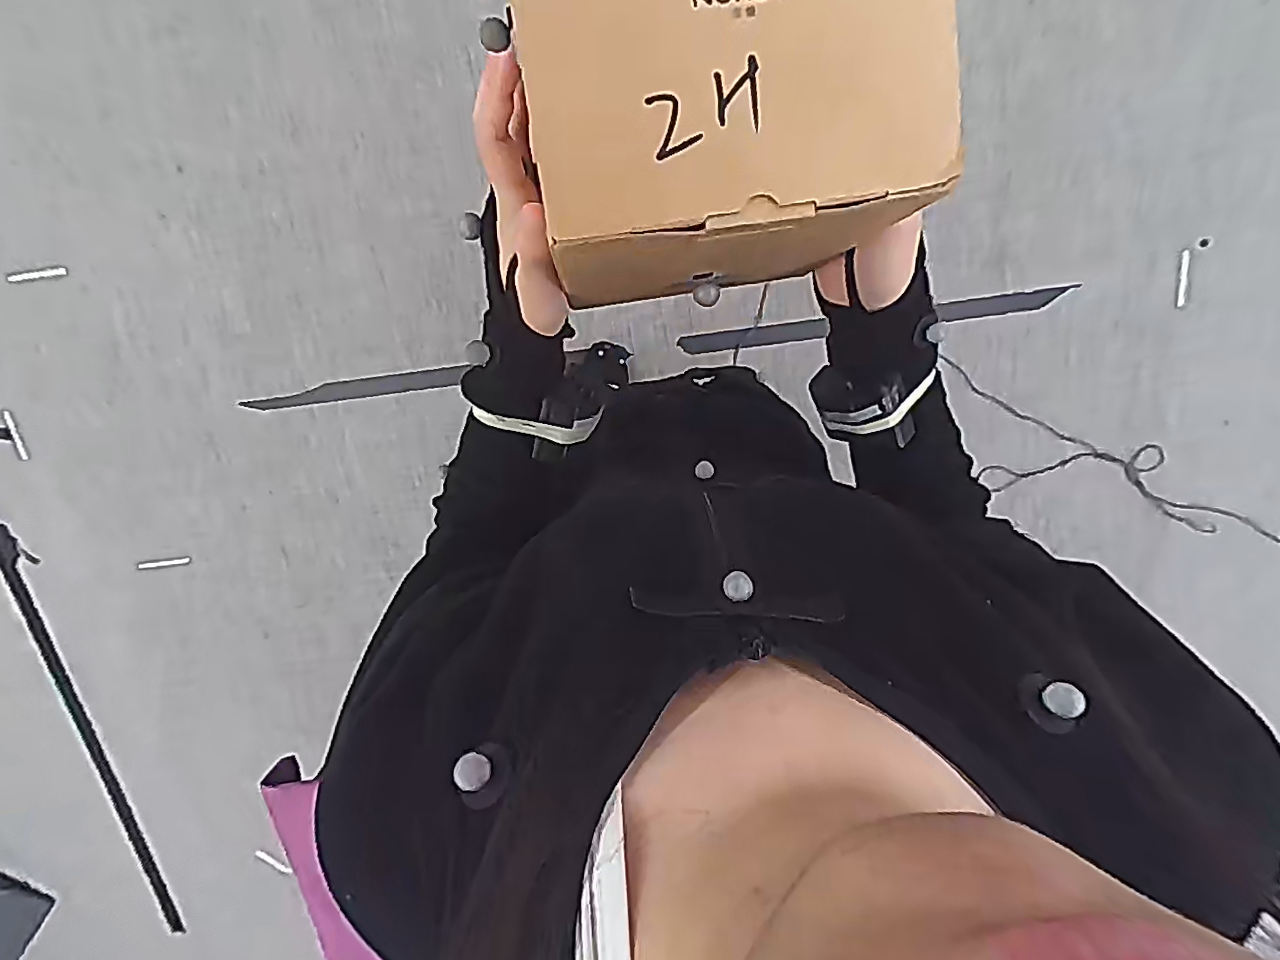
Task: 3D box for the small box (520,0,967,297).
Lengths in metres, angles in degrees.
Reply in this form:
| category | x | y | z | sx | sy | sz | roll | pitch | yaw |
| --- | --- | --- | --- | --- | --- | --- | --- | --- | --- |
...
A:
| category | x | y | z | sx | sy | sz | roll | pitch | yaw |
| --- | --- | --- | --- | --- | --- | --- | --- | --- | --- |
| small box | 0.029 | -0.205 | 0.272 | 0.168 | 0.176 | 0.179 | -9 | 100 | -3 |
